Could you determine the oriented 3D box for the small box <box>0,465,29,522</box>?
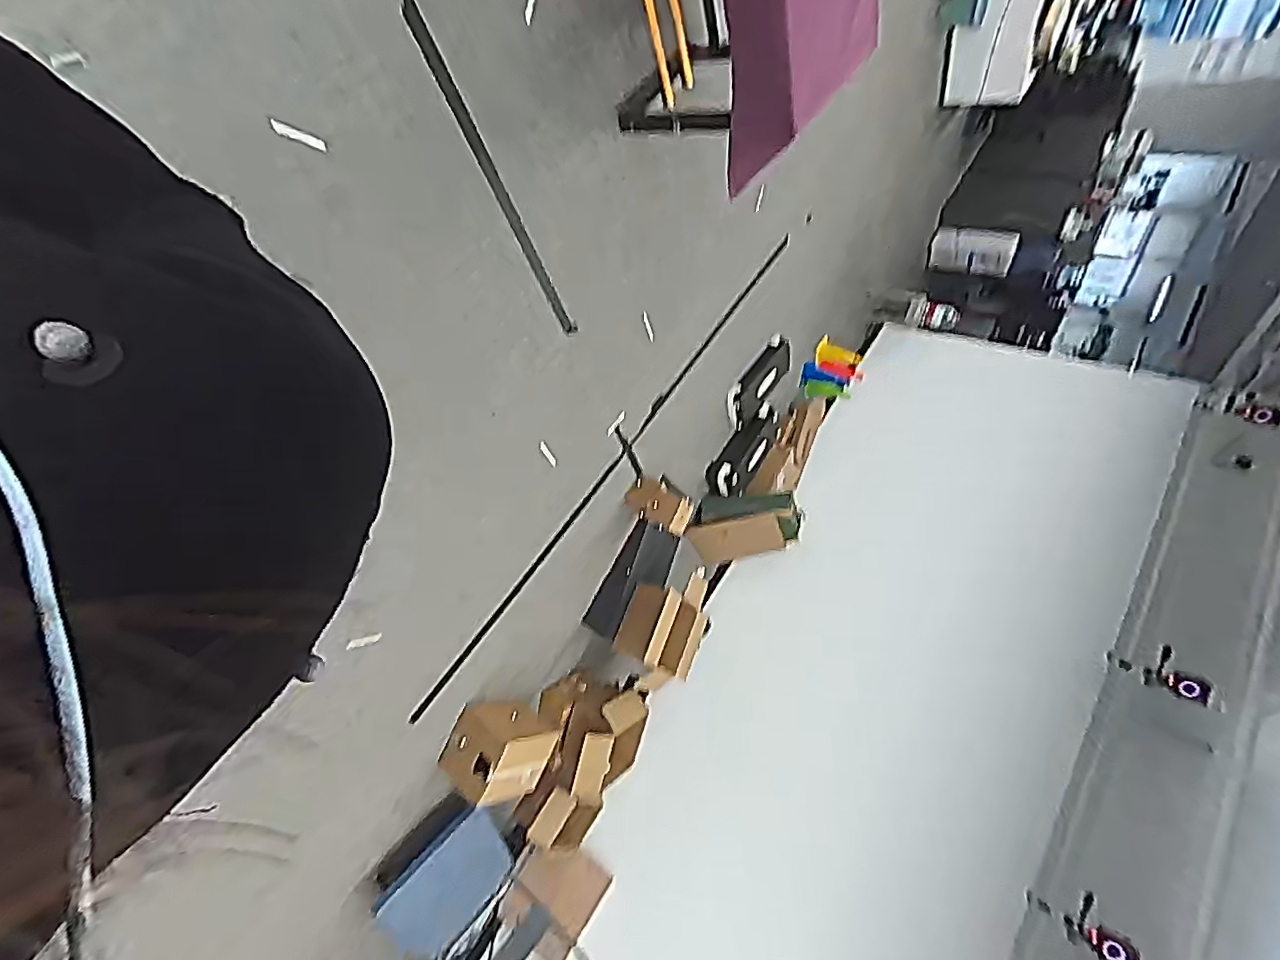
[{"bbox_3d":[-1.332,0.025,1.011,0.179,0.176,0.168,-51,146,-19],"label":"small box"}]
